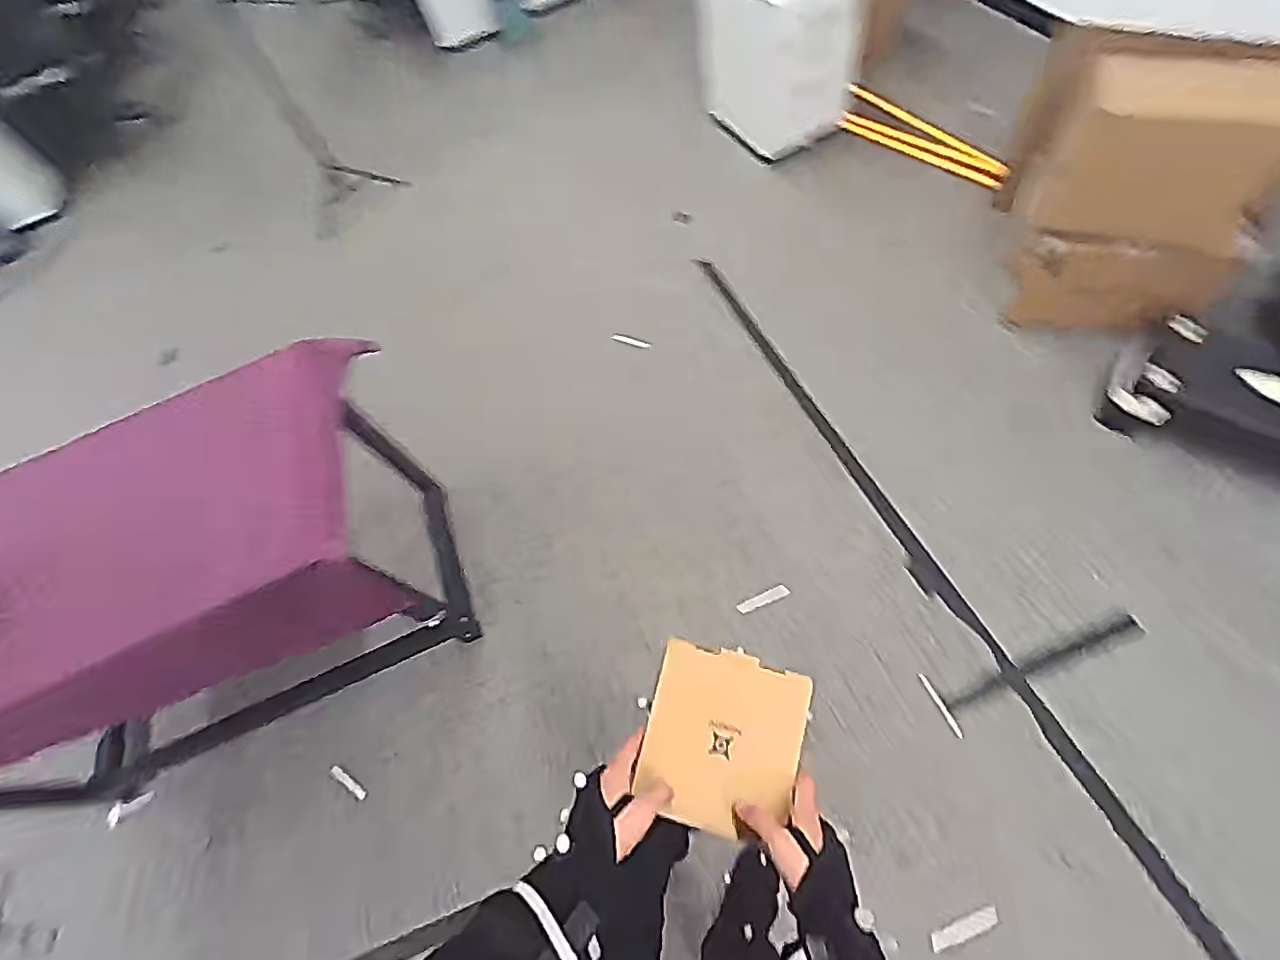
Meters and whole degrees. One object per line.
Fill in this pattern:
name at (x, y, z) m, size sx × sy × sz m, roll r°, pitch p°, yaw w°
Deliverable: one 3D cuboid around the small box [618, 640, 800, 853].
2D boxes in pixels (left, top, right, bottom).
small box at (0.080, 0.303, 0.654) m, size 0.168 × 0.176 × 0.179 m, roll 13°, pitch 74°, yaw 6°
